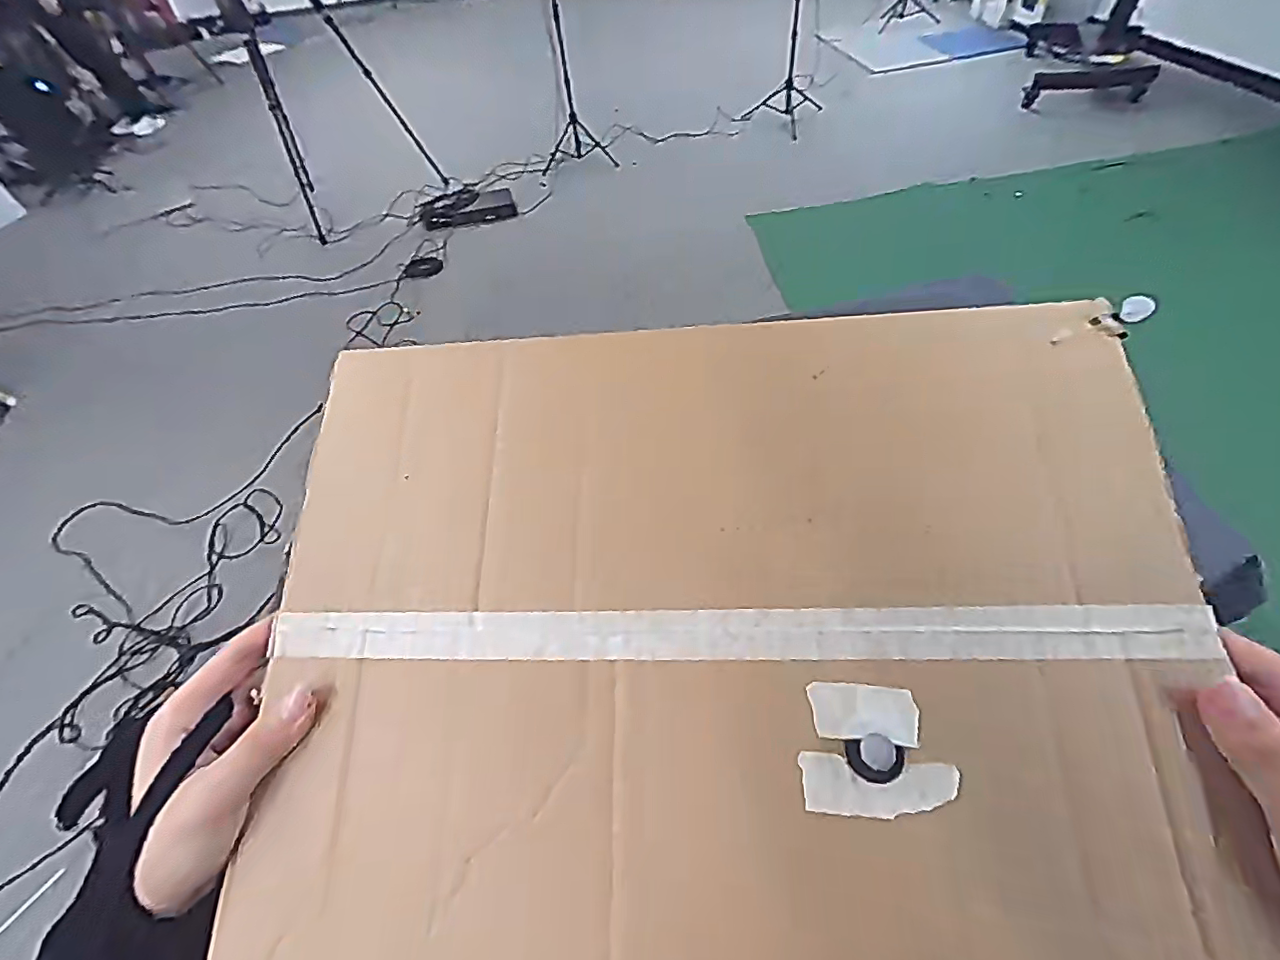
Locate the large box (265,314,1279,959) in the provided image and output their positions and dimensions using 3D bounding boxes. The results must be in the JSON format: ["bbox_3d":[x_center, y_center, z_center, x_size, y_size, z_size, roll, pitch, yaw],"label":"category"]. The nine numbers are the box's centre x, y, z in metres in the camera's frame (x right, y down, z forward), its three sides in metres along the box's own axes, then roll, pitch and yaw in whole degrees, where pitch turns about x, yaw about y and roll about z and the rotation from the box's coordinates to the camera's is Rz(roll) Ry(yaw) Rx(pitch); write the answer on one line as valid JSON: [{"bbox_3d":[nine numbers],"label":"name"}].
[{"bbox_3d":[0.051,0.113,0.394,0.408,0.320,0.320,-2,72,6],"label":"large box"}]
